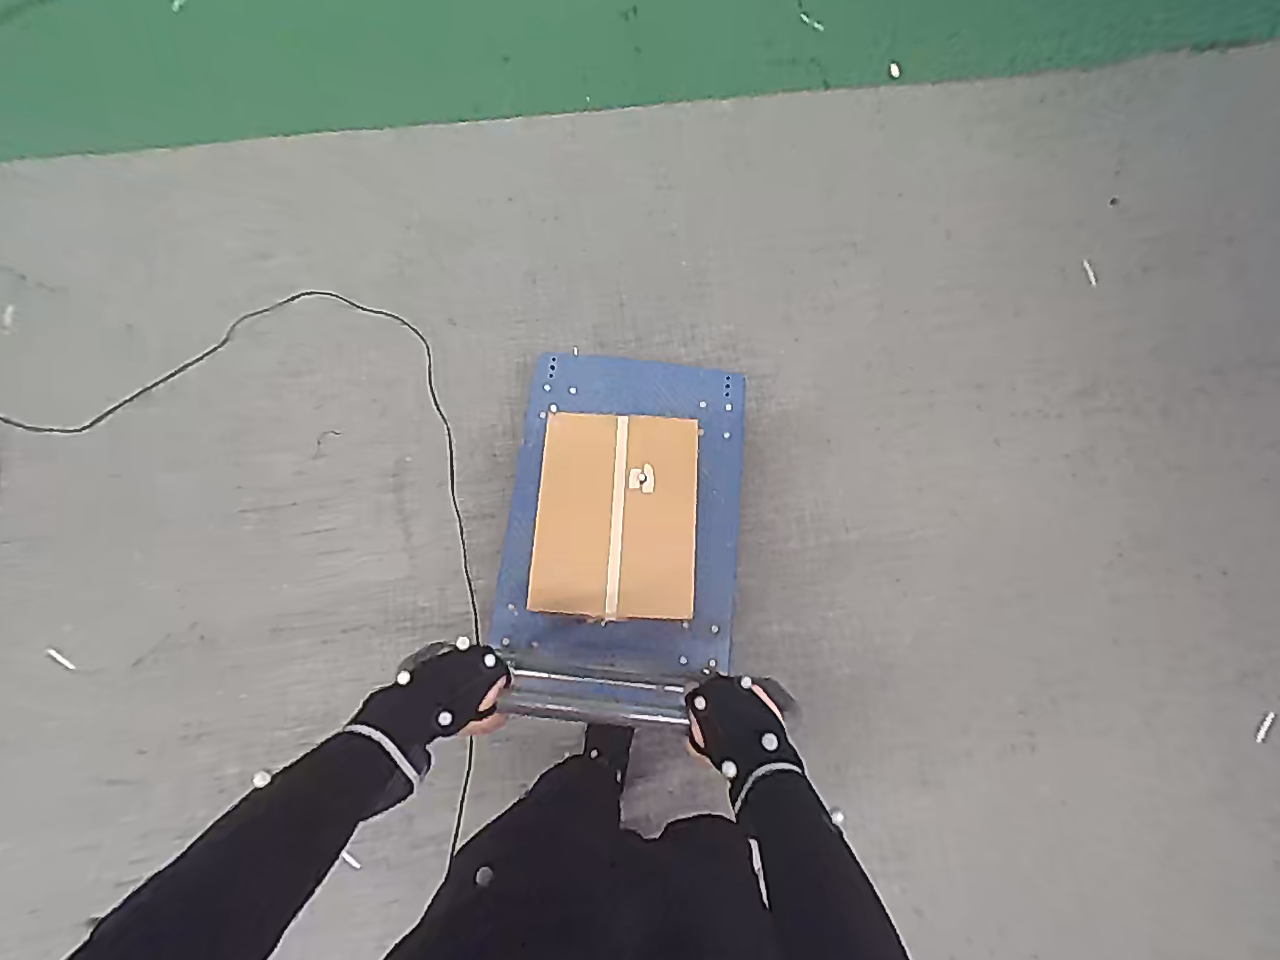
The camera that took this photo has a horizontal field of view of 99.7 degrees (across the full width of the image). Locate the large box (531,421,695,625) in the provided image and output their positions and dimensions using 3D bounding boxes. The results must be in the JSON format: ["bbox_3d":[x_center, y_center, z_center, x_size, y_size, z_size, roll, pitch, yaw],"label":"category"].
[{"bbox_3d":[-0.049,0.114,1.211,0.320,0.320,0.408,3,74,-1],"label":"large box"}]
